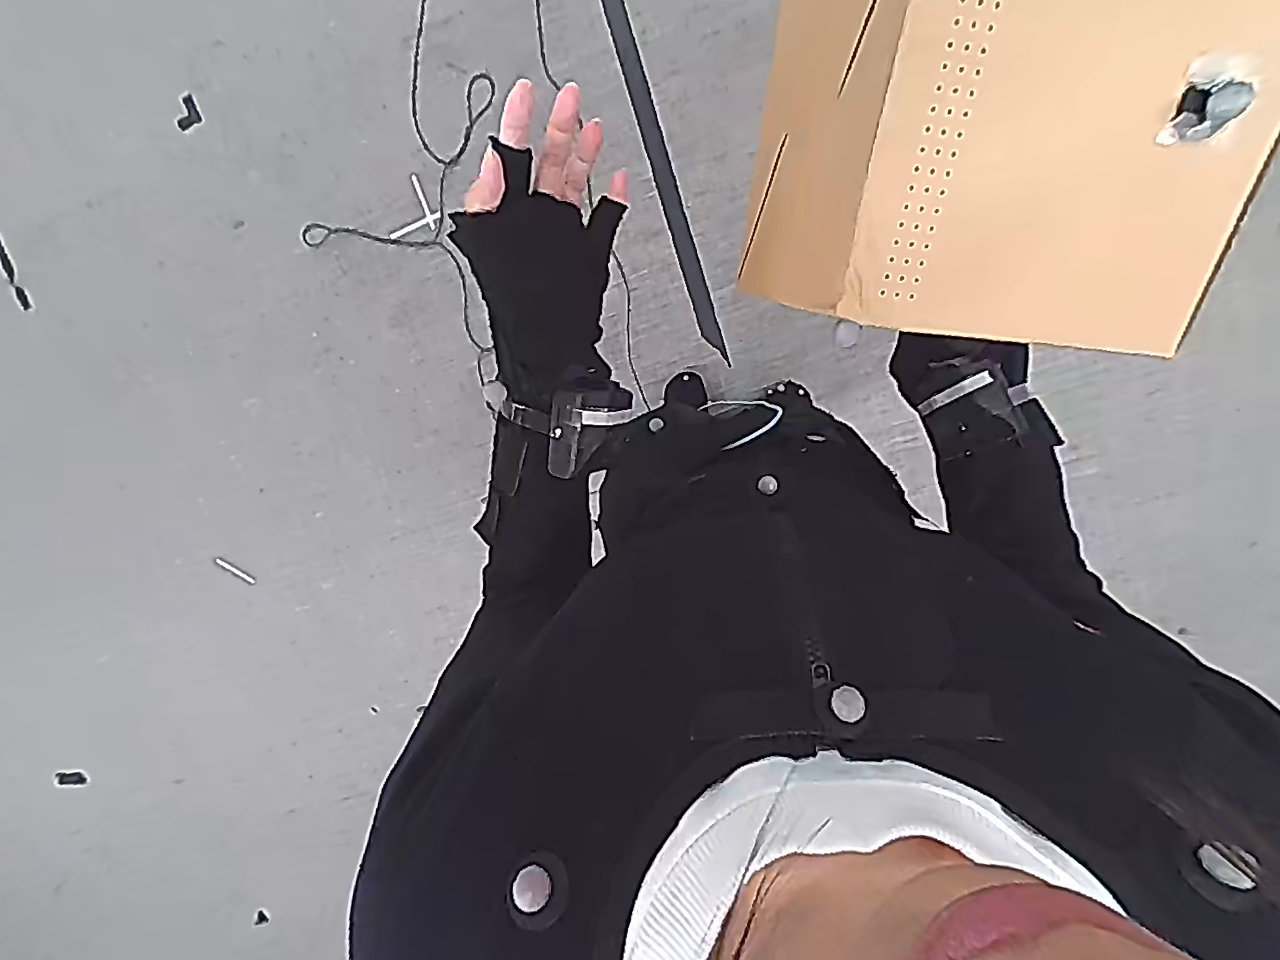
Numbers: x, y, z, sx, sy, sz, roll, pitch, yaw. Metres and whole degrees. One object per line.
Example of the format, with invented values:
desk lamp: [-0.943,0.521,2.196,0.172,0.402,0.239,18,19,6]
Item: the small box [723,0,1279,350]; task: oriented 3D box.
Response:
small box: [0.153,-0.175,0.288,0.176,0.168,0.179,4,113,-7]
